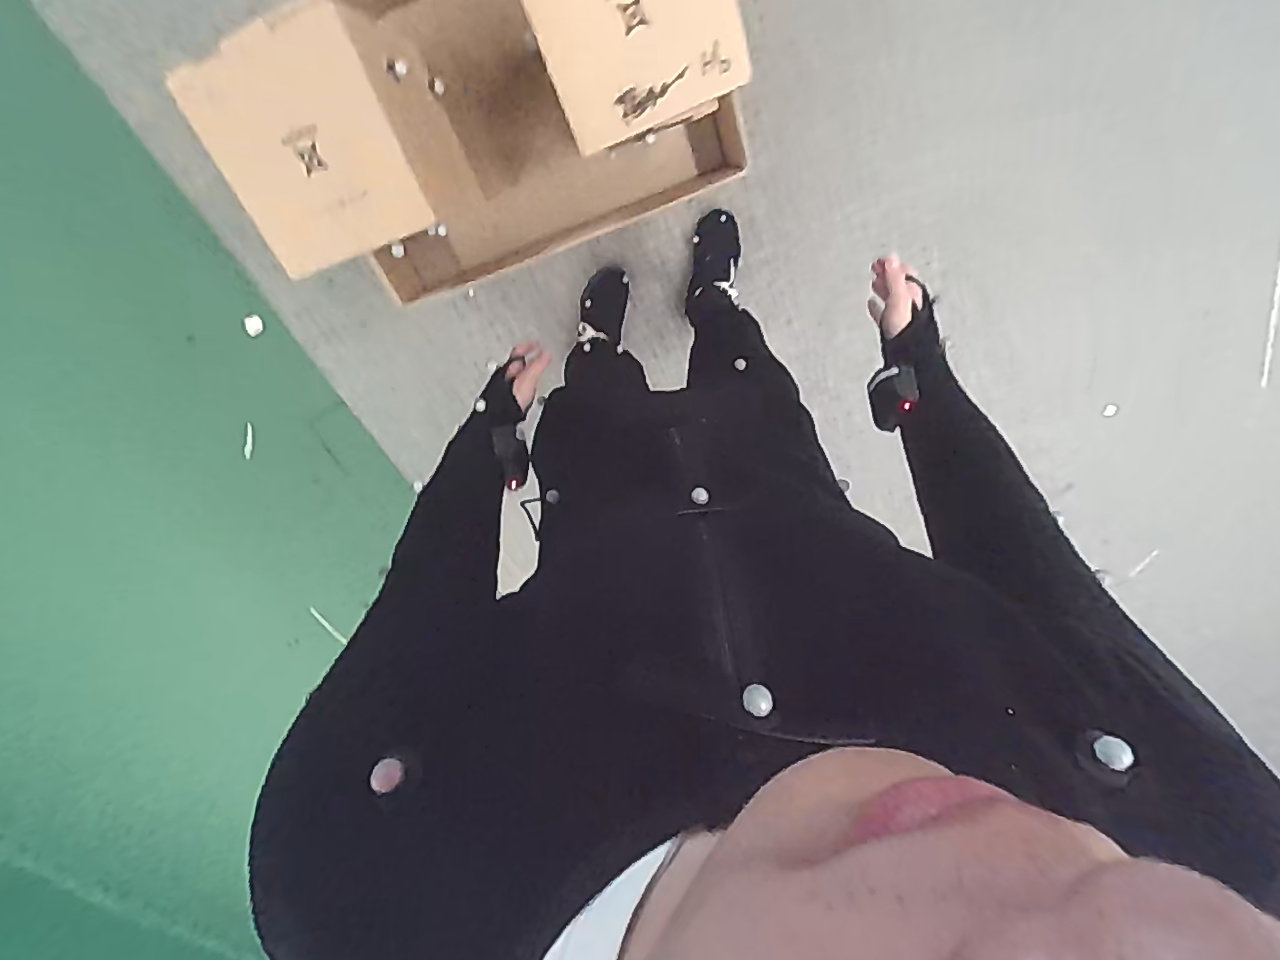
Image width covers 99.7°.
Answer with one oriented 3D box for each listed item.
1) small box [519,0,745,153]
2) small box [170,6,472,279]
[{"bbox_3d":[-0.017,-0.433,0.512,0.168,0.176,0.179,-20,120,9],"label":"small box"},{"bbox_3d":[-0.301,-0.333,0.559,0.168,0.176,0.179,-17,120,9],"label":"small box"}]
